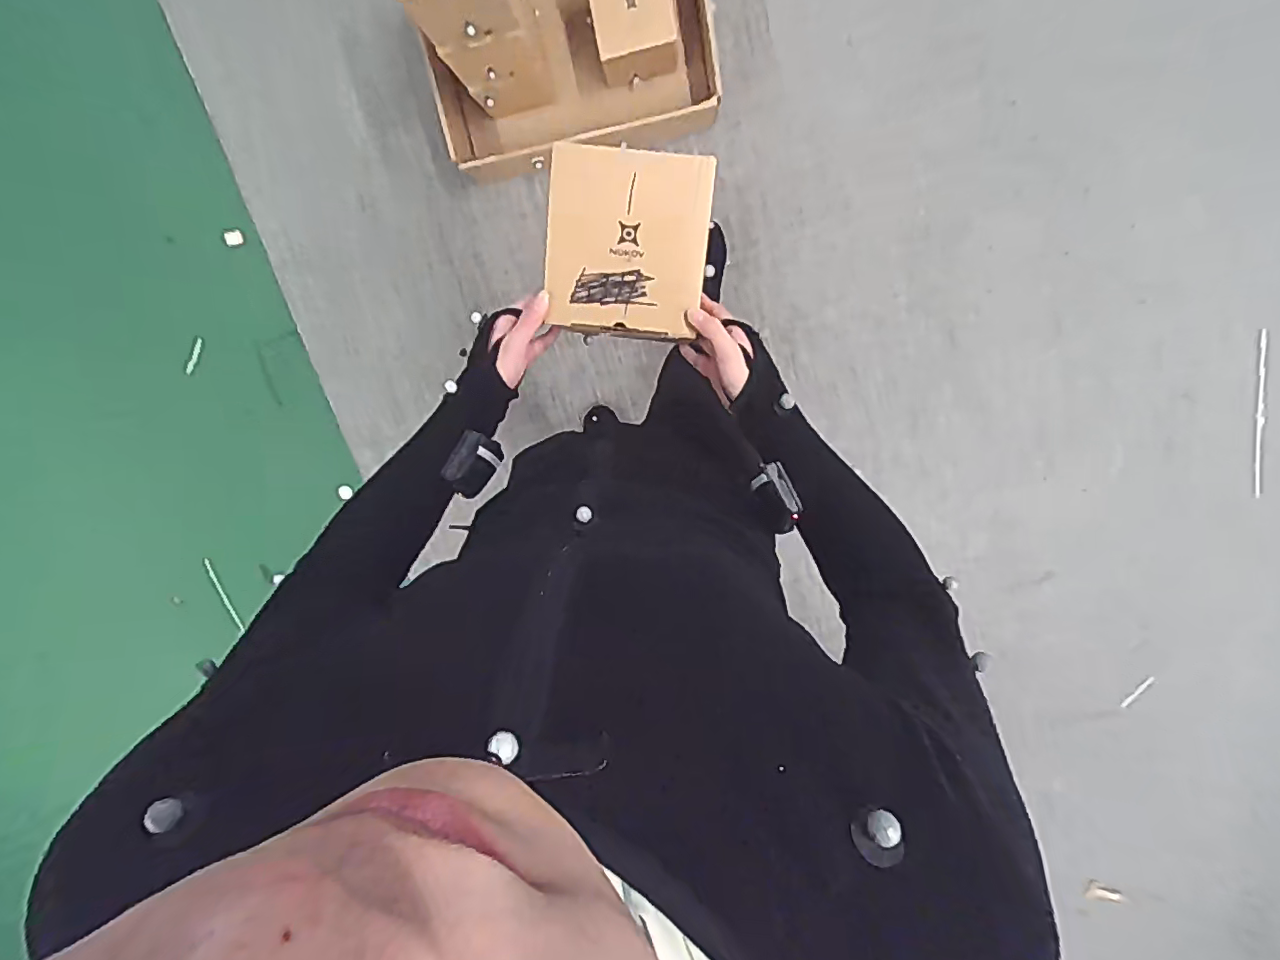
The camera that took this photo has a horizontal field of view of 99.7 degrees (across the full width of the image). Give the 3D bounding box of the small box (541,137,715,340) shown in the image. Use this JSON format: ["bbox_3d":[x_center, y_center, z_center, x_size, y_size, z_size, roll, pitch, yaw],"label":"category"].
[{"bbox_3d":[-0.012,-0.262,0.628,0.168,0.176,0.179,6,101,1],"label":"small box"}]

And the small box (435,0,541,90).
[{"bbox_3d":[-0.302,-0.896,1.038,0.168,0.176,0.179,-9,106,6],"label":"small box"}]

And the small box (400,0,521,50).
[{"bbox_3d":[-0.308,-0.854,0.879,0.168,0.176,0.179,-9,106,6],"label":"small box"}]

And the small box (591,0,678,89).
[{"bbox_3d":[-0.012,-0.986,1.161,0.168,0.176,0.179,-9,107,8],"label":"small box"}]
